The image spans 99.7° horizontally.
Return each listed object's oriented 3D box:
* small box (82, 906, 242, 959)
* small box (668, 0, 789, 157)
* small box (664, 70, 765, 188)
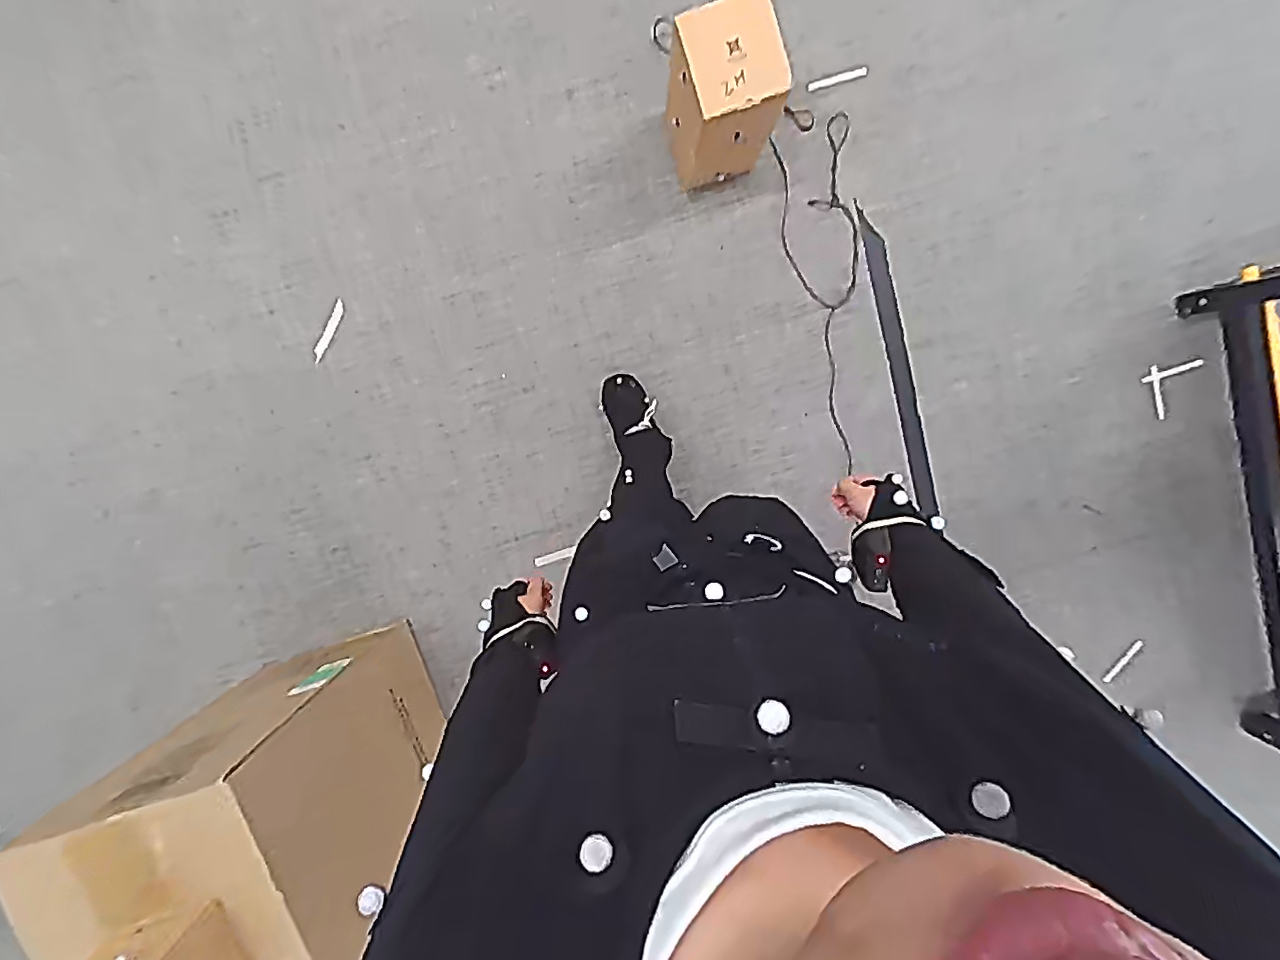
[{"bbox_3d":[-0.690,0.735,0.743,0.168,0.176,0.179,-18,98,2],"label":"small box"},{"bbox_3d":[0.155,-0.746,1.004,0.168,0.176,0.179,-18,98,3],"label":"small box"},{"bbox_3d":[0.152,-0.769,1.168,0.168,0.176,0.179,-17,99,2],"label":"small box"}]
